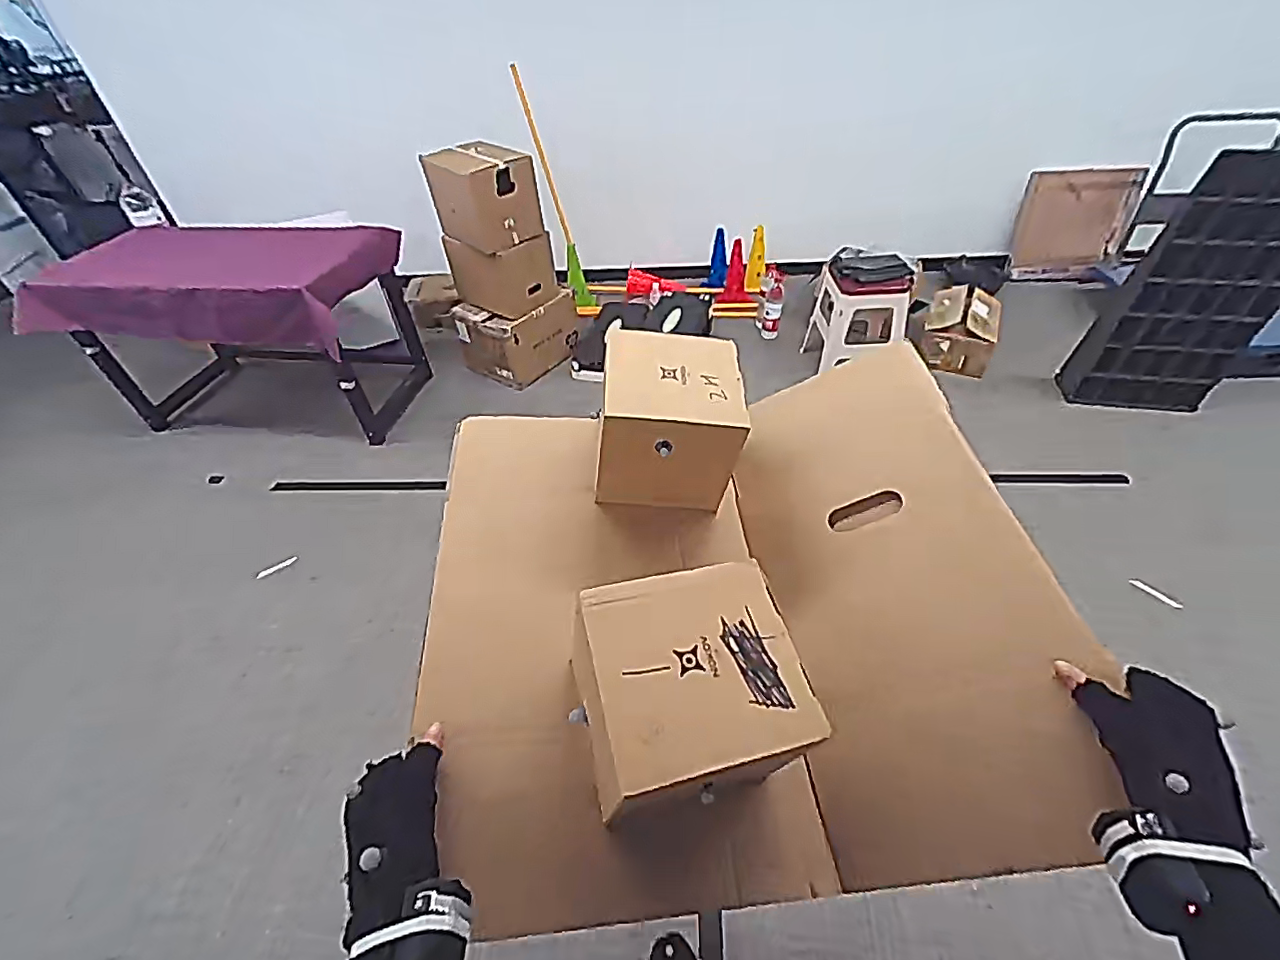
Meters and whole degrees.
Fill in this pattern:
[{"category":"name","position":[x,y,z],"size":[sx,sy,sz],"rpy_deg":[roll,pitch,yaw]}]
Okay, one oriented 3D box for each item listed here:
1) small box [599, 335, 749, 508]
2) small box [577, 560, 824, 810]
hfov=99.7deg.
[{"category":"small box","position":[0.036,-0.076,0.747],"size":[0.179,0.176,0.168],"rpy_deg":[5,51,-5]},{"category":"small box","position":[0.040,0.200,0.527],"size":[0.179,0.176,0.168],"rpy_deg":[-8,54,-14]}]
